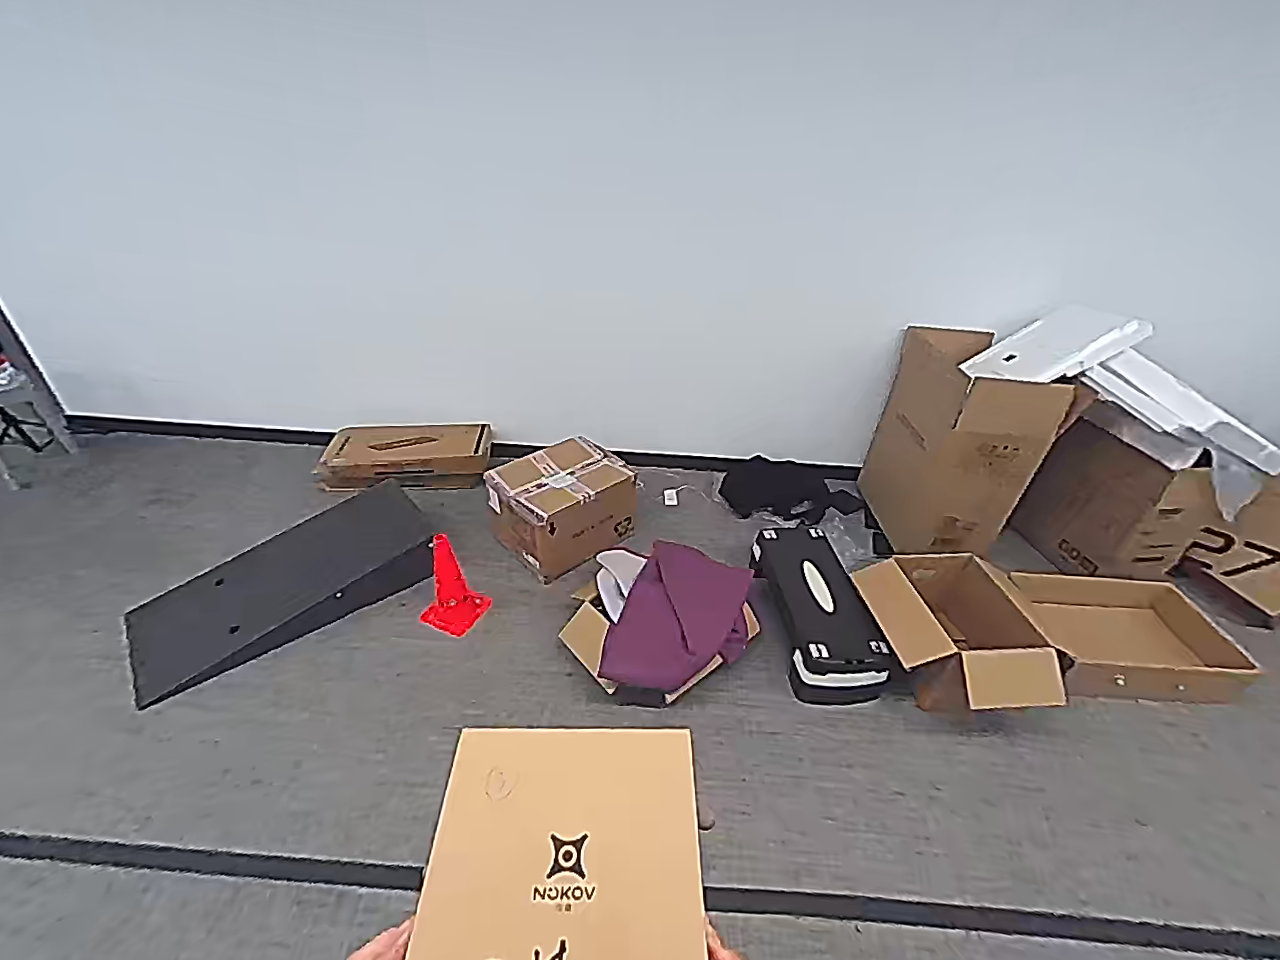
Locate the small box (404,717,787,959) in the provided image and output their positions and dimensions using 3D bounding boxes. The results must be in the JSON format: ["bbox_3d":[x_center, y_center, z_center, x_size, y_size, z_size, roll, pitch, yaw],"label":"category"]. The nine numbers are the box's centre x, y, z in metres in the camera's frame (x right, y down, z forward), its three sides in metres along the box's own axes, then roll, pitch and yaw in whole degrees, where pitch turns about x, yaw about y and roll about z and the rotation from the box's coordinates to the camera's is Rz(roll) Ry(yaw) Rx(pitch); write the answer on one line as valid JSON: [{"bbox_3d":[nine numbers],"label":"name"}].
[{"bbox_3d":[-0.021,0.254,0.295,0.168,0.176,0.179,0,40,-1],"label":"small box"}]
